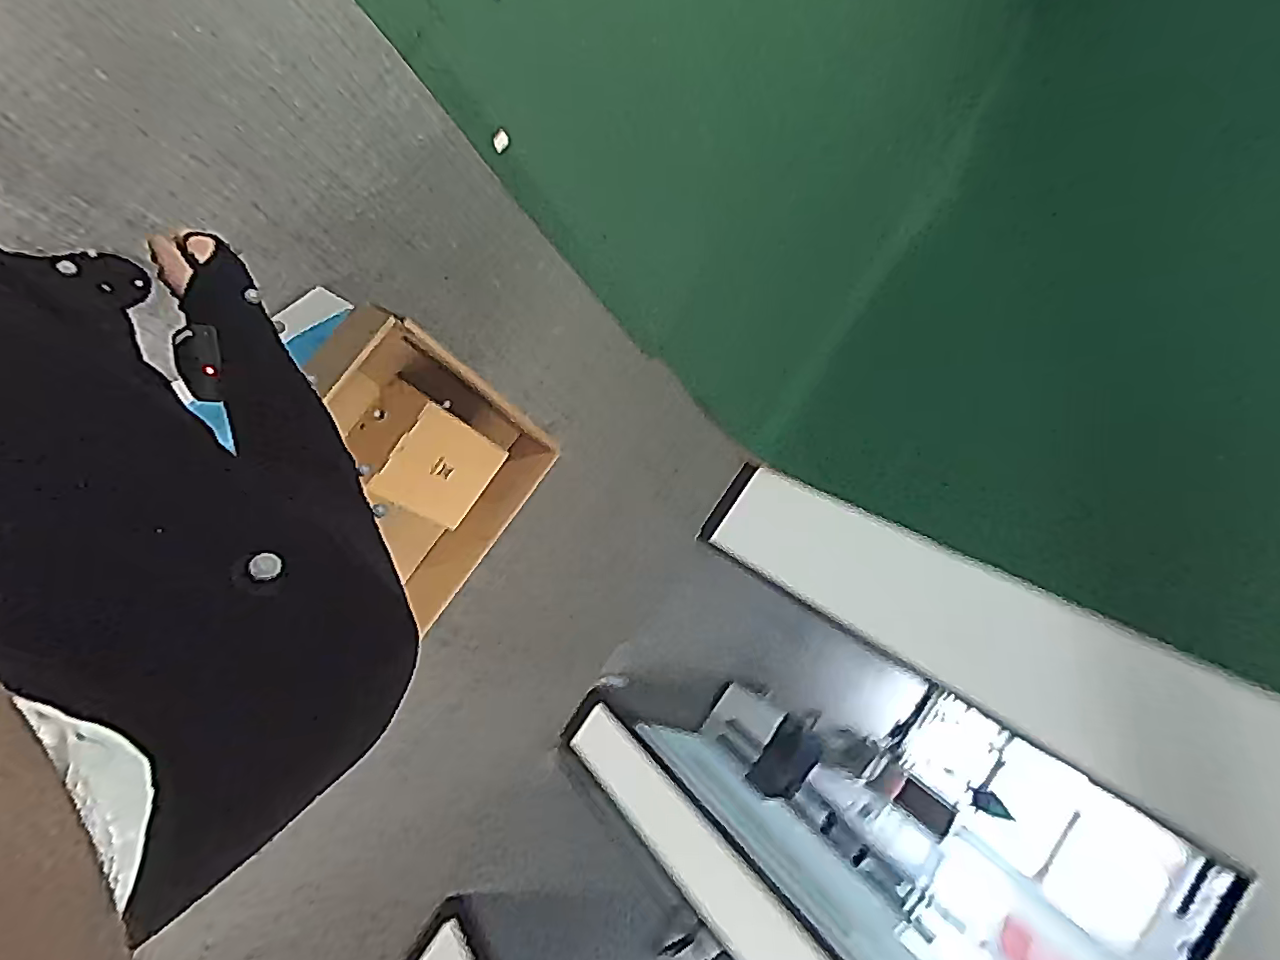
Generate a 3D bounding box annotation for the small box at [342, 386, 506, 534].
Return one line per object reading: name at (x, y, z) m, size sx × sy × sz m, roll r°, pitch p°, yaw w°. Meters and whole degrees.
small box at (-0.375, -0.040, 0.938) m, size 0.168 × 0.176 × 0.179 m, roll -54°, pitch 137°, yaw -4°
